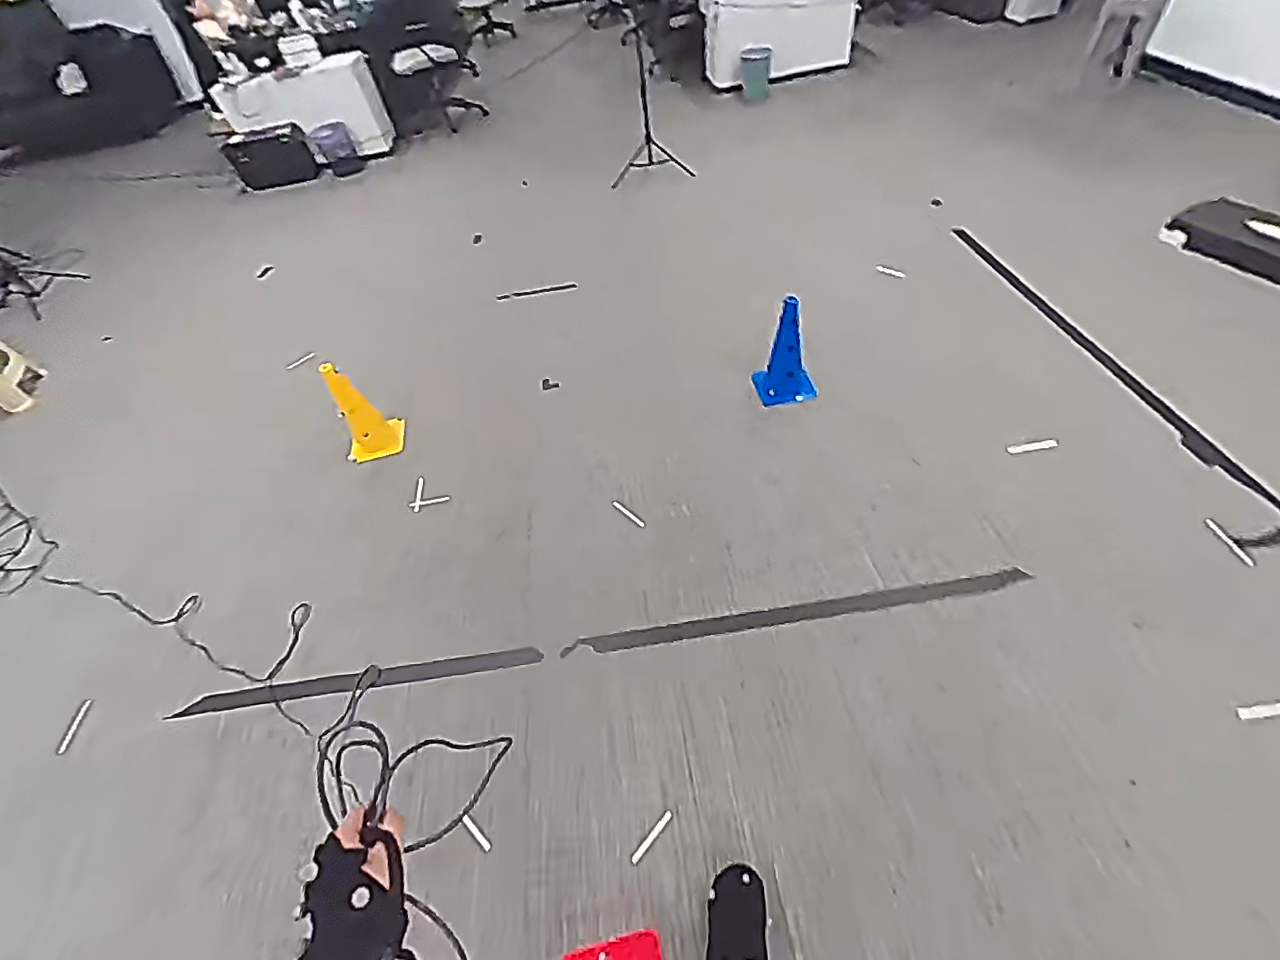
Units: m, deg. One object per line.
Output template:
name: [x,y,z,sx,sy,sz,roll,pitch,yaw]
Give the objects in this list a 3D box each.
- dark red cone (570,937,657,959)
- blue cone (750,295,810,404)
dark red cone: [-0.073,0.838,0.822,0.202,0.394,0.201,-16,48,-4]
blue cone: [0.495,-0.456,1.872,0.193,0.380,0.192,-9,48,2]
